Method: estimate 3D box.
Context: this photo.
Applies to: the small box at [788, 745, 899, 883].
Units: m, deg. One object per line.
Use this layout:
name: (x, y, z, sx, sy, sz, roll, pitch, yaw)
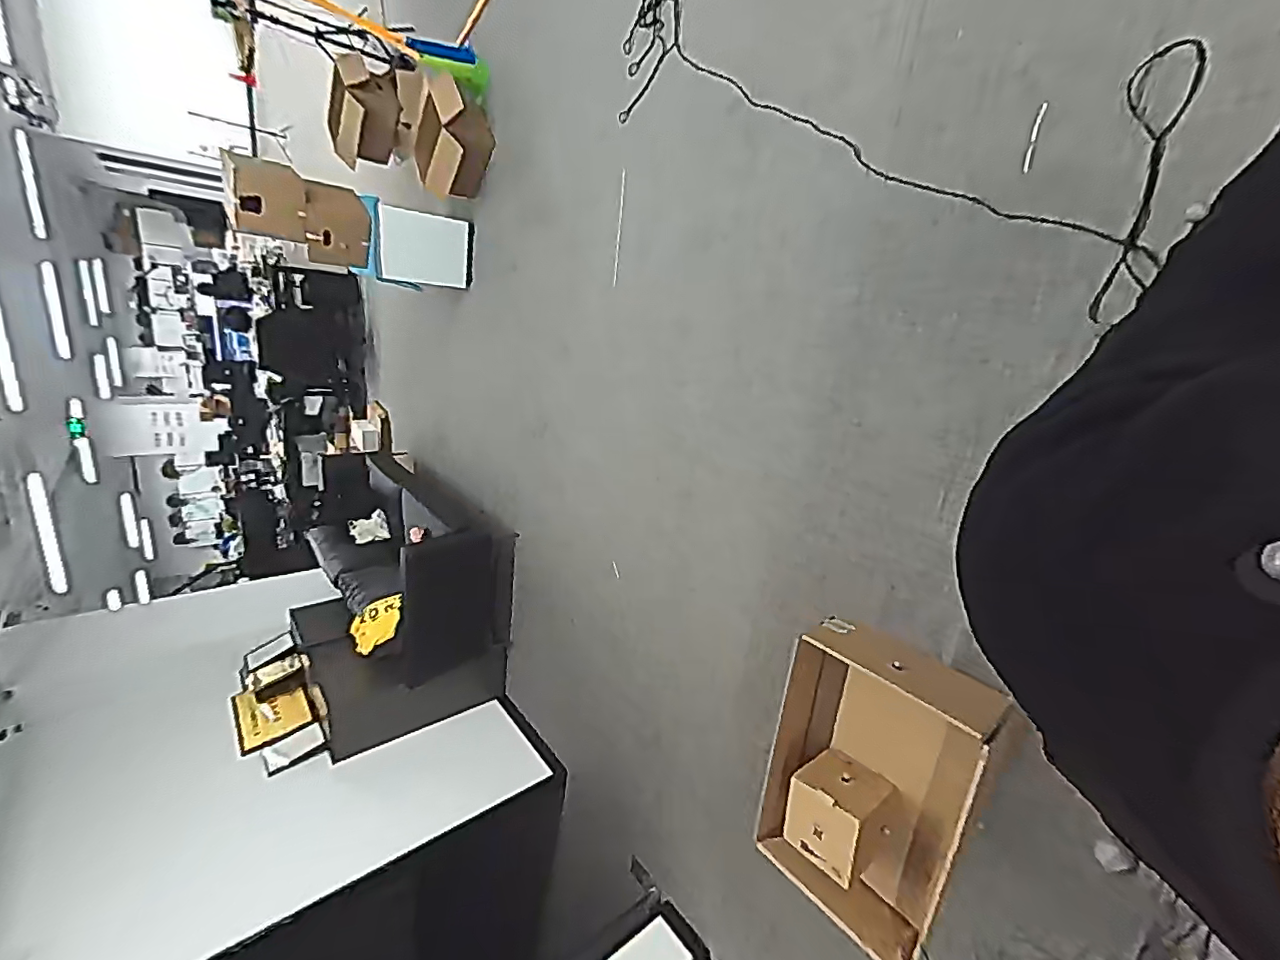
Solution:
small box: (0.466, 0.746, 1.234, 0.168, 0.176, 0.179, 19, 108, 48)
